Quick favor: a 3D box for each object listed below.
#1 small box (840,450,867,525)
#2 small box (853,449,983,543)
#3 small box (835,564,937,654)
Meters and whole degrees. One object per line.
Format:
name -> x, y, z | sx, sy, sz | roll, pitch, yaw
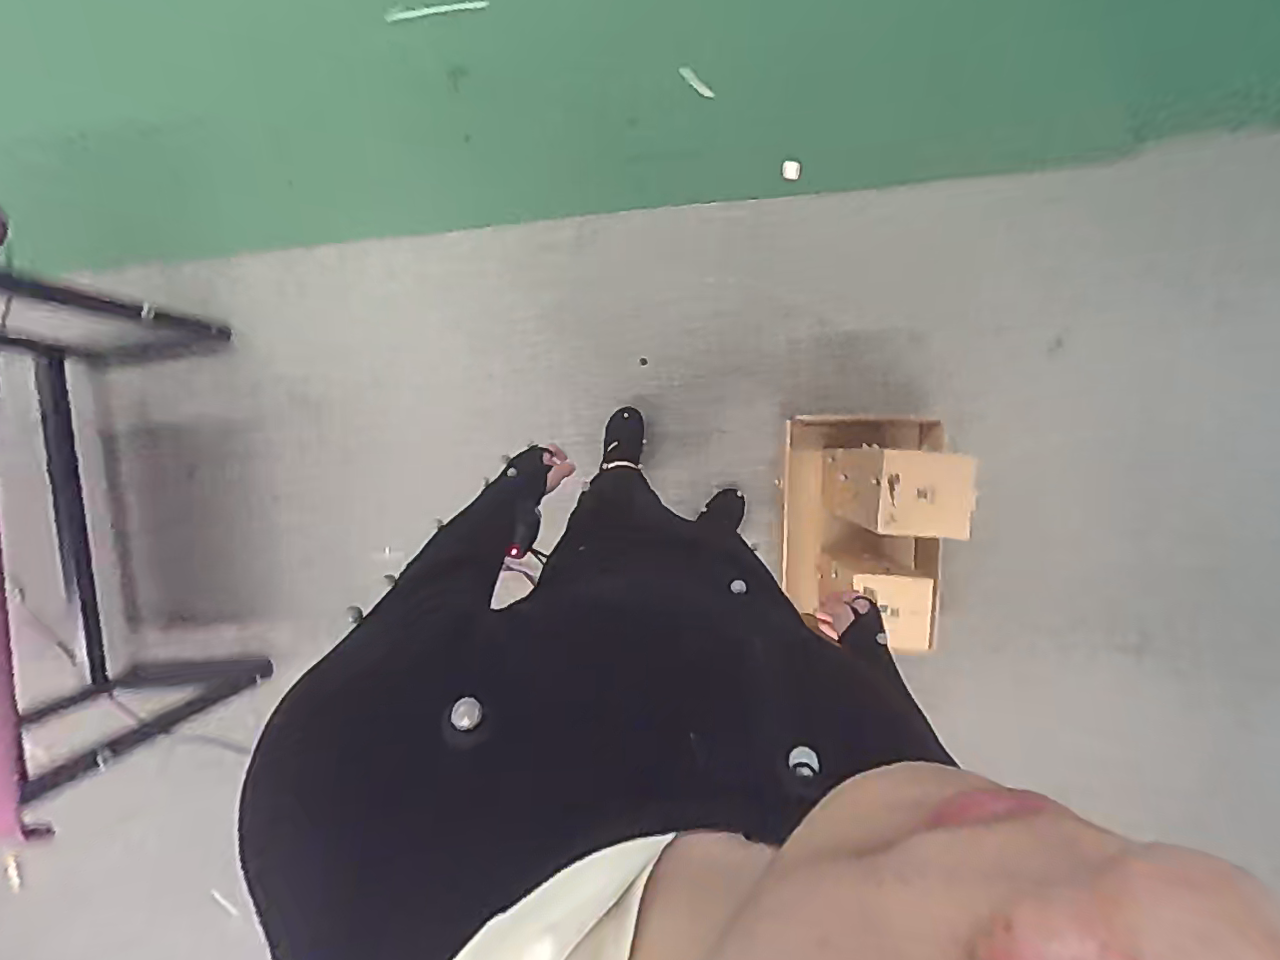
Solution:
small box -> 0.586, 0.017, 1.269 | 0.179, 0.176, 0.168 | 2, 94, 5
small box -> 0.559, 0.026, 1.107 | 0.179, 0.176, 0.168 | 4, 95, 4
small box -> 0.574, 0.299, 1.283 | 0.179, 0.176, 0.168 | 3, 92, 5
